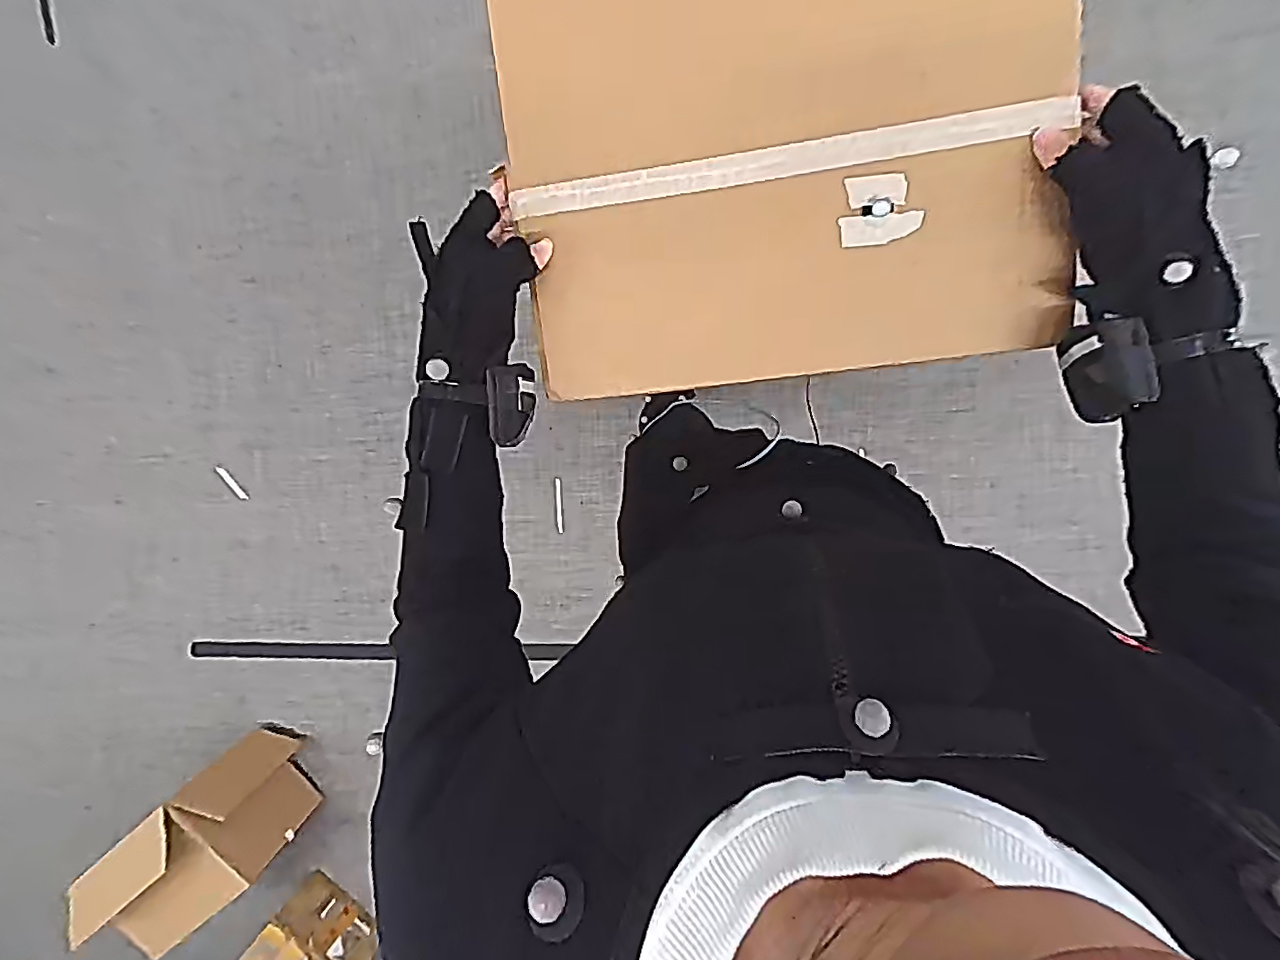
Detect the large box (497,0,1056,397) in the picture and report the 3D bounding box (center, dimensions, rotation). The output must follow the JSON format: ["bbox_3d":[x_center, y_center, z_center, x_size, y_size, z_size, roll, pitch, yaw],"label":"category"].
[{"bbox_3d":[0.116,-0.270,0.562,0.408,0.320,0.320,-6,101,7],"label":"large box"}]
